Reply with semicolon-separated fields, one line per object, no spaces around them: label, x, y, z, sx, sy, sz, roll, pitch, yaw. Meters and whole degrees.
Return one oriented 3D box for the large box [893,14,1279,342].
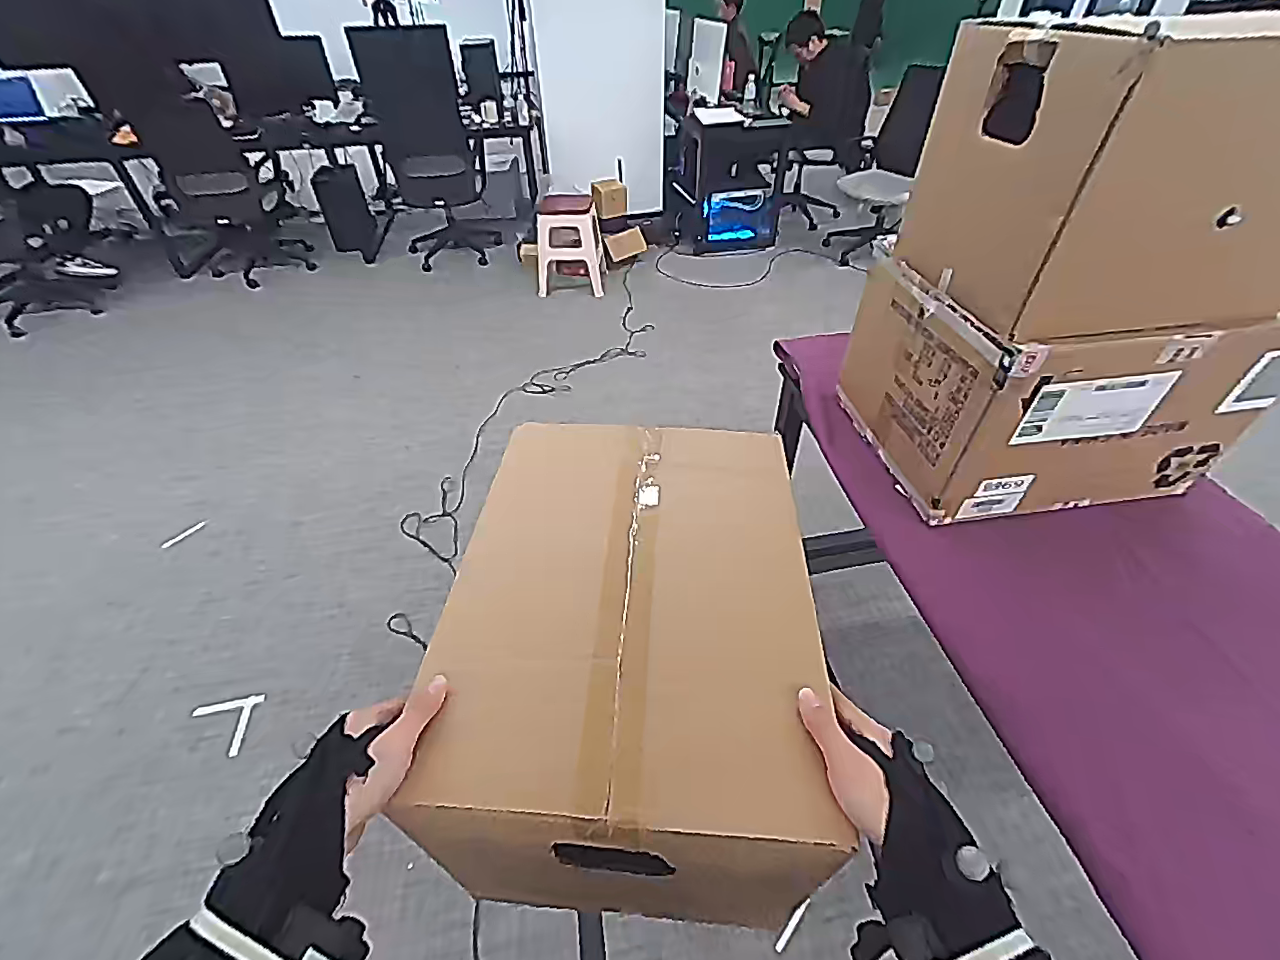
large box;0.642;-0.414;0.733;0.408;0.320;0.320;-8;42;-6
